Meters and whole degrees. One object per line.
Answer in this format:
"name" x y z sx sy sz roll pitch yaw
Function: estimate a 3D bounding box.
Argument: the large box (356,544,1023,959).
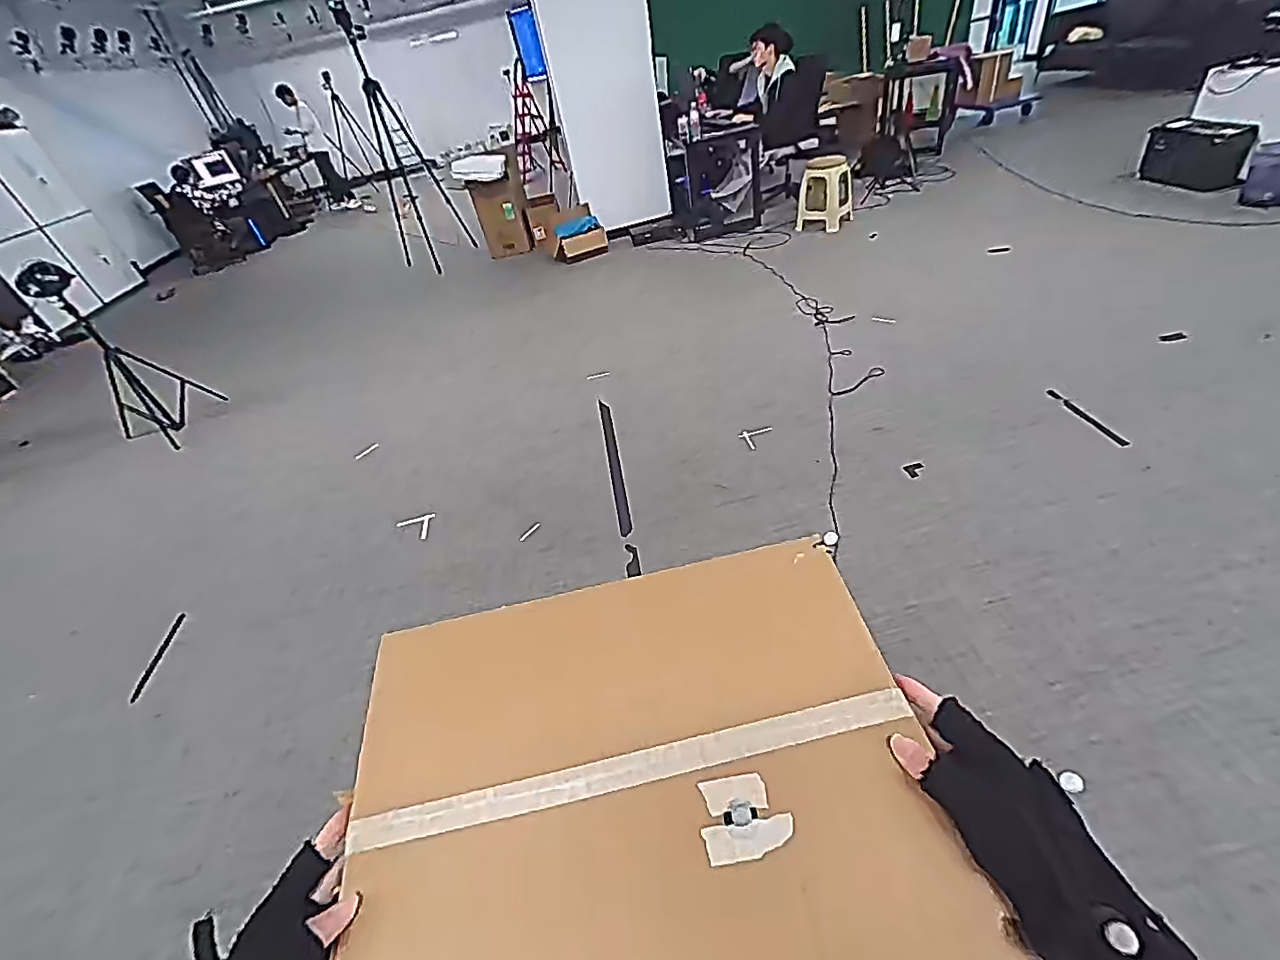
"large box" 0.017 0.311 0.507 0.408 0.320 0.320 -12 48 -2
